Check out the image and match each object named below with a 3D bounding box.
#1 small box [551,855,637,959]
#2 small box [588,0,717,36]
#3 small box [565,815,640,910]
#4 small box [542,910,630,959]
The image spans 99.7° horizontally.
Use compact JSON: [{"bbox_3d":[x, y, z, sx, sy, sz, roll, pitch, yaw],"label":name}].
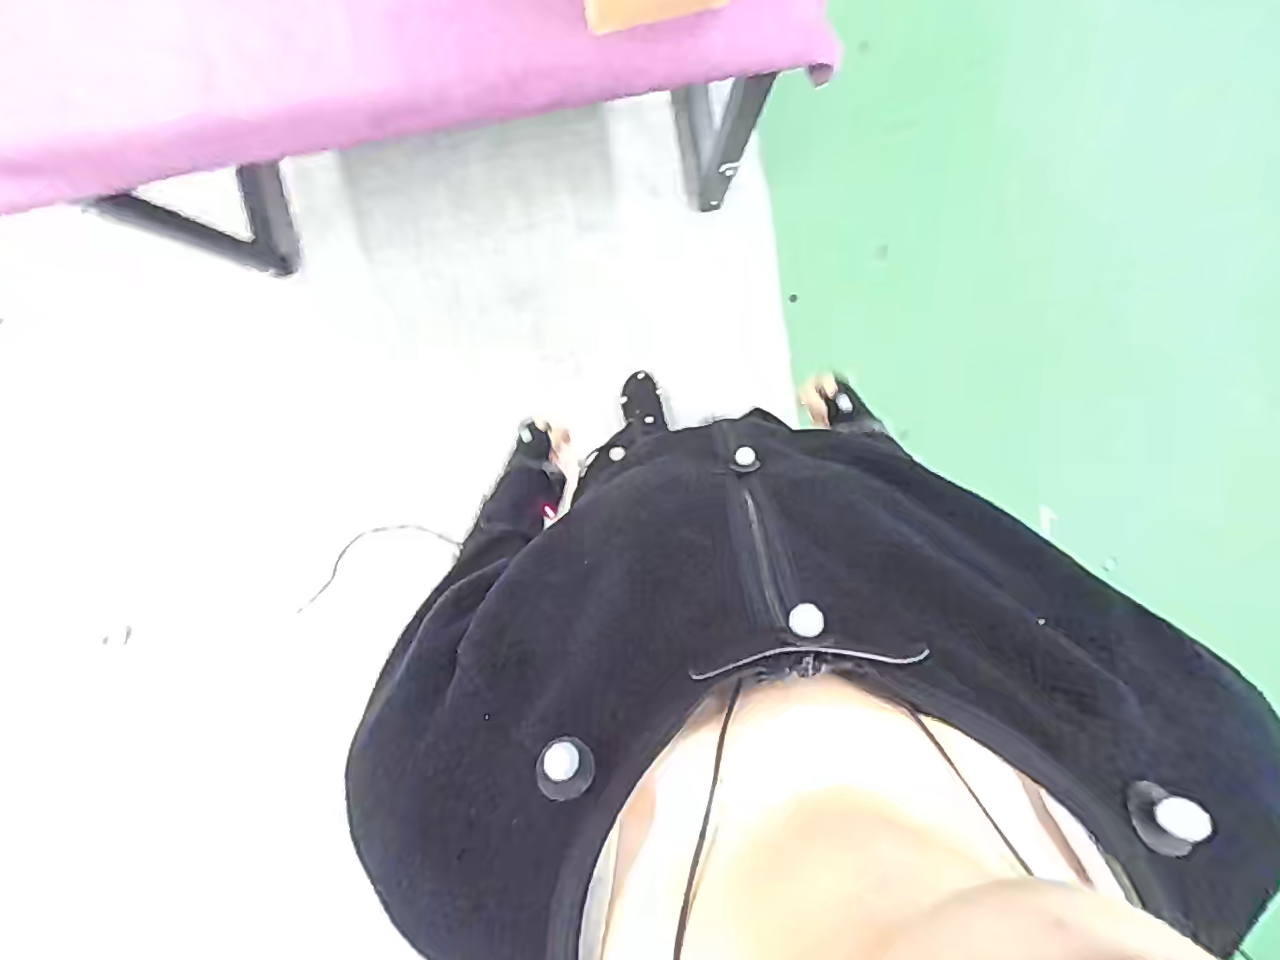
[{"bbox_3d":[-0.109,1.093,1.367,0.179,0.176,0.168,-14,95,4],"label":"small box"},{"bbox_3d":[0.011,-0.649,0.601,0.179,0.176,0.168,-12,99,3],"label":"small box"},{"bbox_3d":[-0.101,1.085,1.530,0.168,0.176,0.179,-15,97,4],"label":"small box"},{"bbox_3d":[-0.119,1.110,1.205,0.179,0.176,0.168,-15,95,4],"label":"small box"}]
